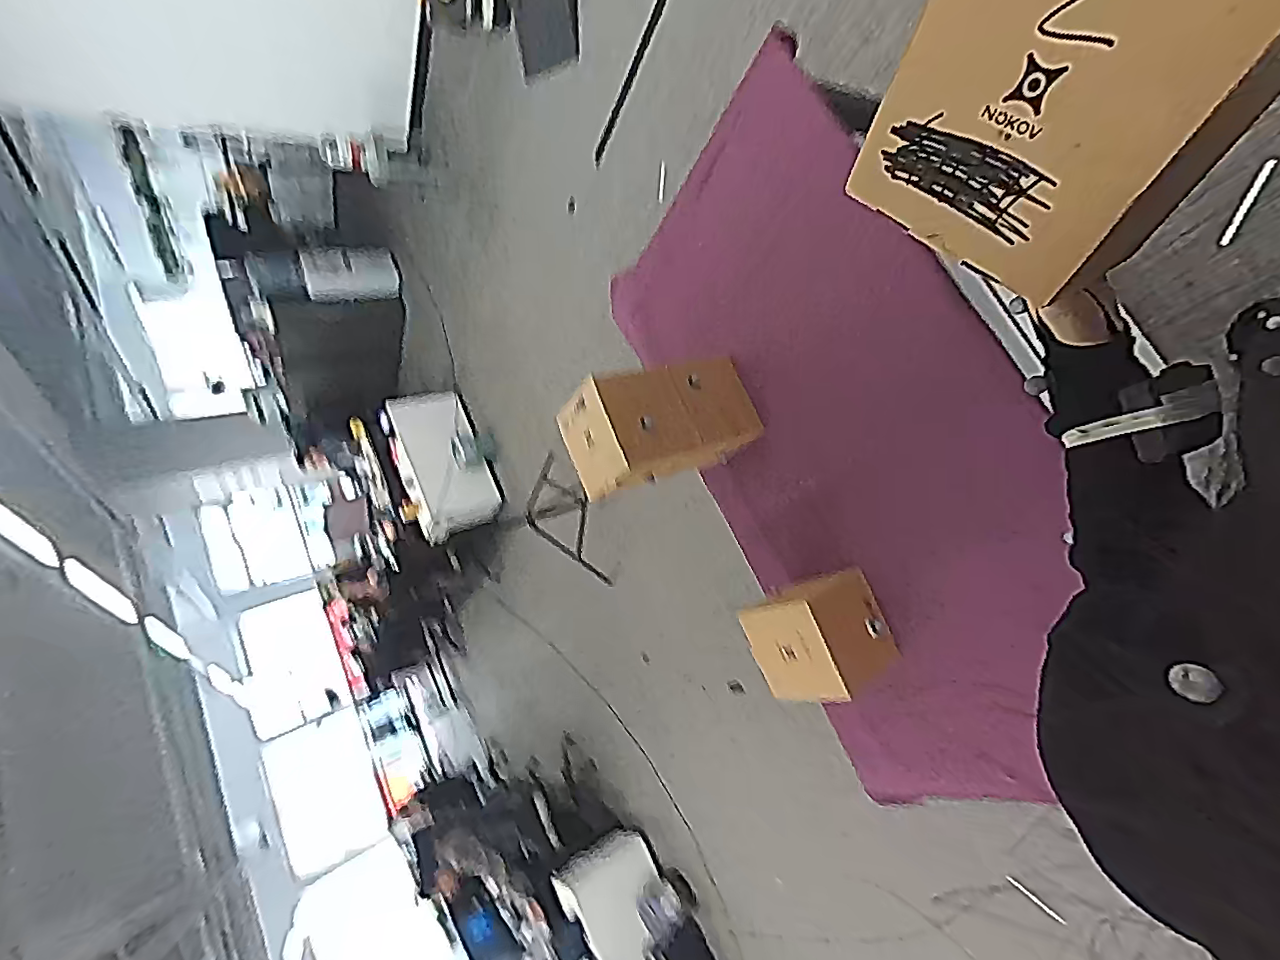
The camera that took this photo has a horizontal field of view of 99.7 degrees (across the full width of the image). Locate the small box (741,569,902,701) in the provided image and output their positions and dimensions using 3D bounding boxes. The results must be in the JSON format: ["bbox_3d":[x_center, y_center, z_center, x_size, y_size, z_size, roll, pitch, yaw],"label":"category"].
[{"bbox_3d":[0.320,0.275,0.959,0.179,0.176,0.168,-35,76,53],"label":"small box"}]

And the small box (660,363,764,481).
[{"bbox_3d":[0.112,-0.121,1.083,0.168,0.176,0.179,-39,72,54],"label":"small box"}]

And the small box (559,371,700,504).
[{"bbox_3d":[-0.019,-0.080,0.992,0.168,0.176,0.179,-37,75,53],"label":"small box"}]
